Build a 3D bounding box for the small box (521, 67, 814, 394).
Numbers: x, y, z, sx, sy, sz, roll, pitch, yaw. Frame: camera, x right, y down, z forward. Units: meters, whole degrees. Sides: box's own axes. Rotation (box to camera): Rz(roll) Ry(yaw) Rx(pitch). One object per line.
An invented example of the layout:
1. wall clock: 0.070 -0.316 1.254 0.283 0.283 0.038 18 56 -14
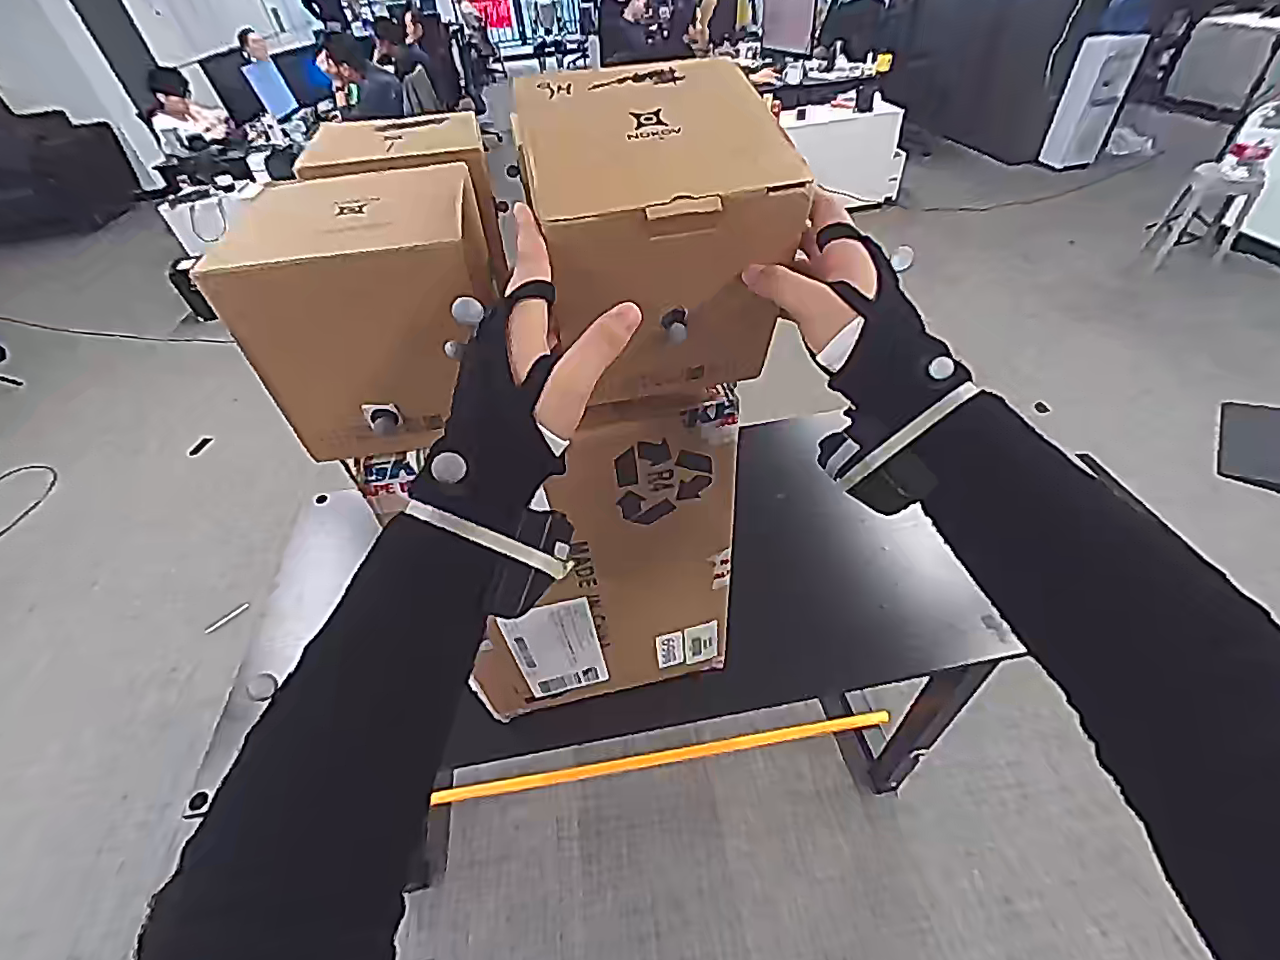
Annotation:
1. small box: 0.009 -0.183 0.424 0.168 0.176 0.179 -9 59 -8
